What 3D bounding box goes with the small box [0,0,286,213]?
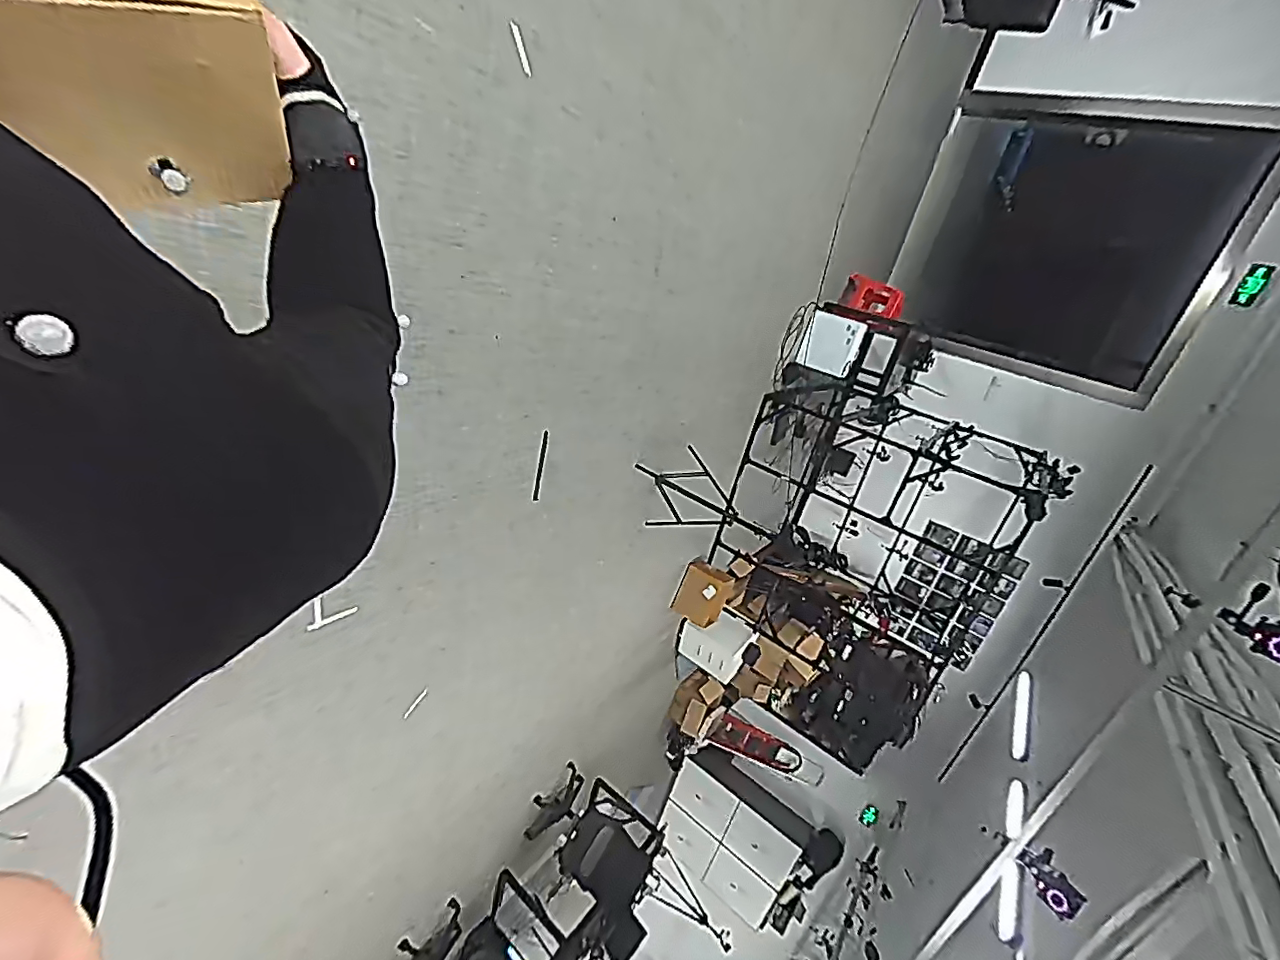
[{"bbox_3d":[-0.389,-0.329,0.401,0.179,0.168,0.176,-23,175,-30],"label":"small box"}]
